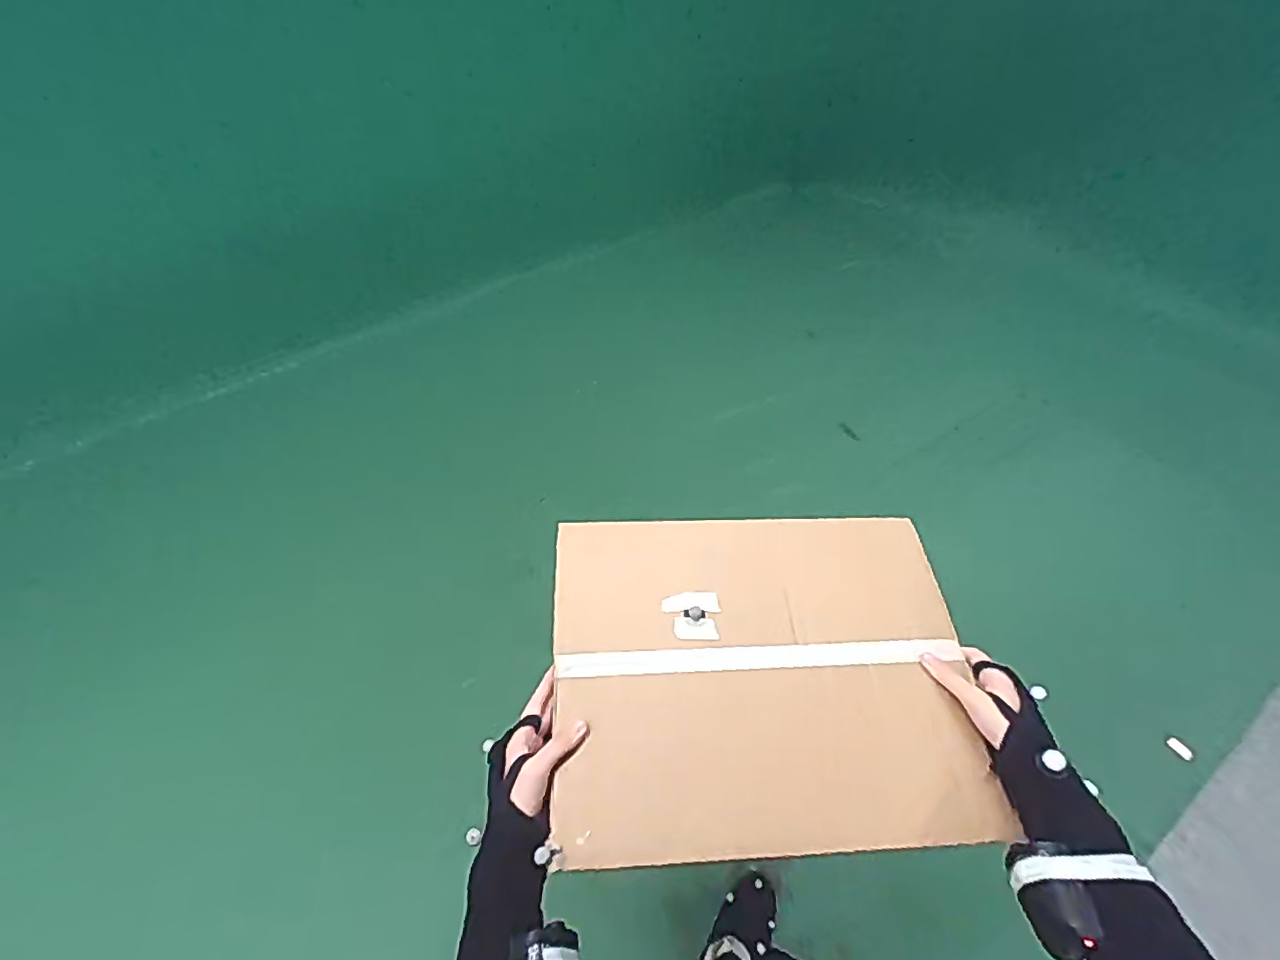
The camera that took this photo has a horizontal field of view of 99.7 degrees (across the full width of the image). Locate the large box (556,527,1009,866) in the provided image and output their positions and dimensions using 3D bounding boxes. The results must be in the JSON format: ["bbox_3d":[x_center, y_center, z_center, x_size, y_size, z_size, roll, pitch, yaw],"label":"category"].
[{"bbox_3d":[0.117,0.265,0.663,0.408,0.320,0.320,0,57,-3],"label":"large box"}]
